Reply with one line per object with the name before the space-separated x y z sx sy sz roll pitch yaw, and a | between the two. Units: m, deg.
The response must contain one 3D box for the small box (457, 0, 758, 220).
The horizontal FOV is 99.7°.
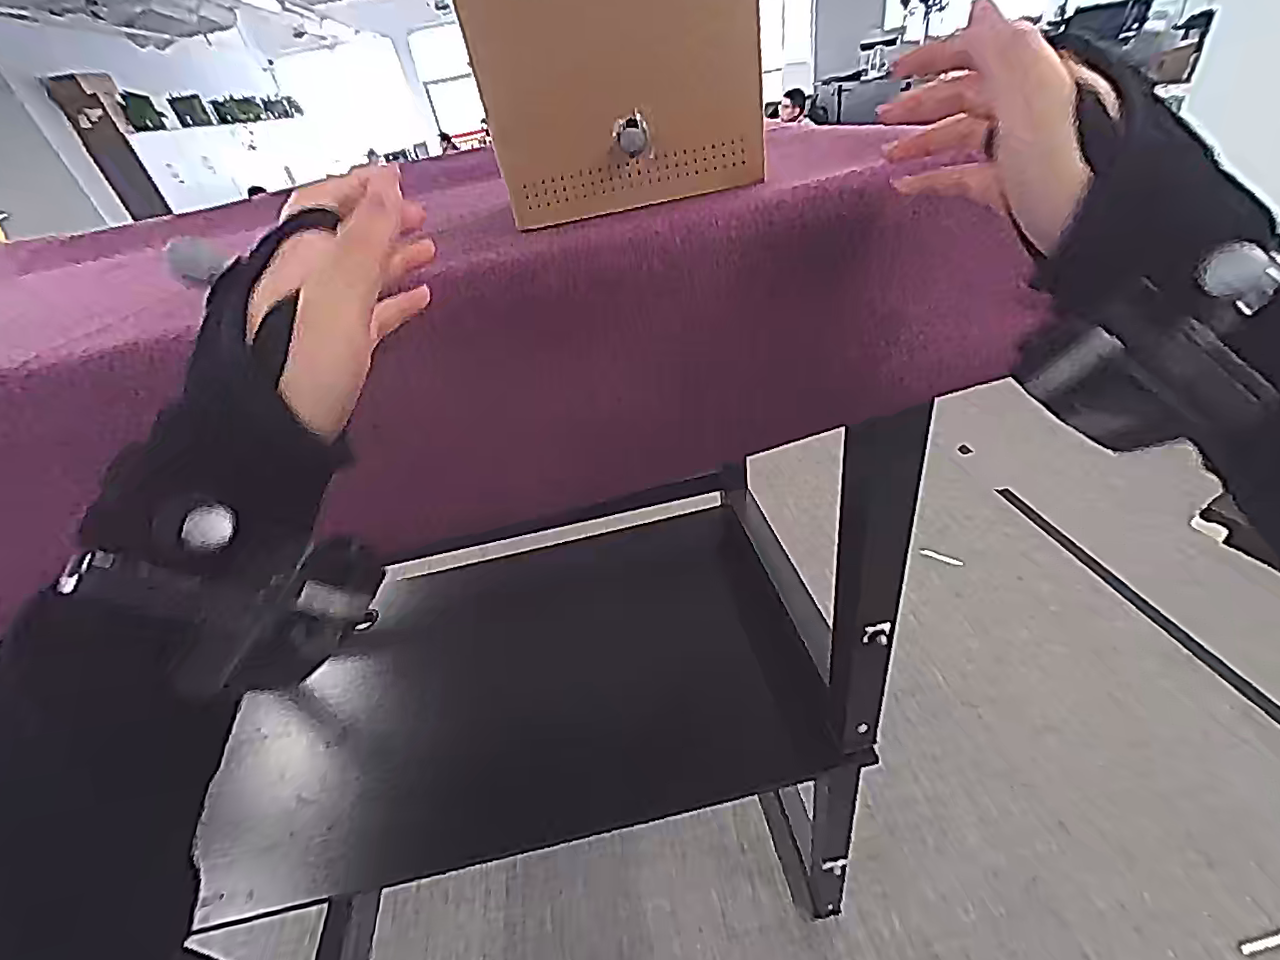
small box | -0.018 -0.302 0.384 0.179 0.176 0.168 -11 35 1
